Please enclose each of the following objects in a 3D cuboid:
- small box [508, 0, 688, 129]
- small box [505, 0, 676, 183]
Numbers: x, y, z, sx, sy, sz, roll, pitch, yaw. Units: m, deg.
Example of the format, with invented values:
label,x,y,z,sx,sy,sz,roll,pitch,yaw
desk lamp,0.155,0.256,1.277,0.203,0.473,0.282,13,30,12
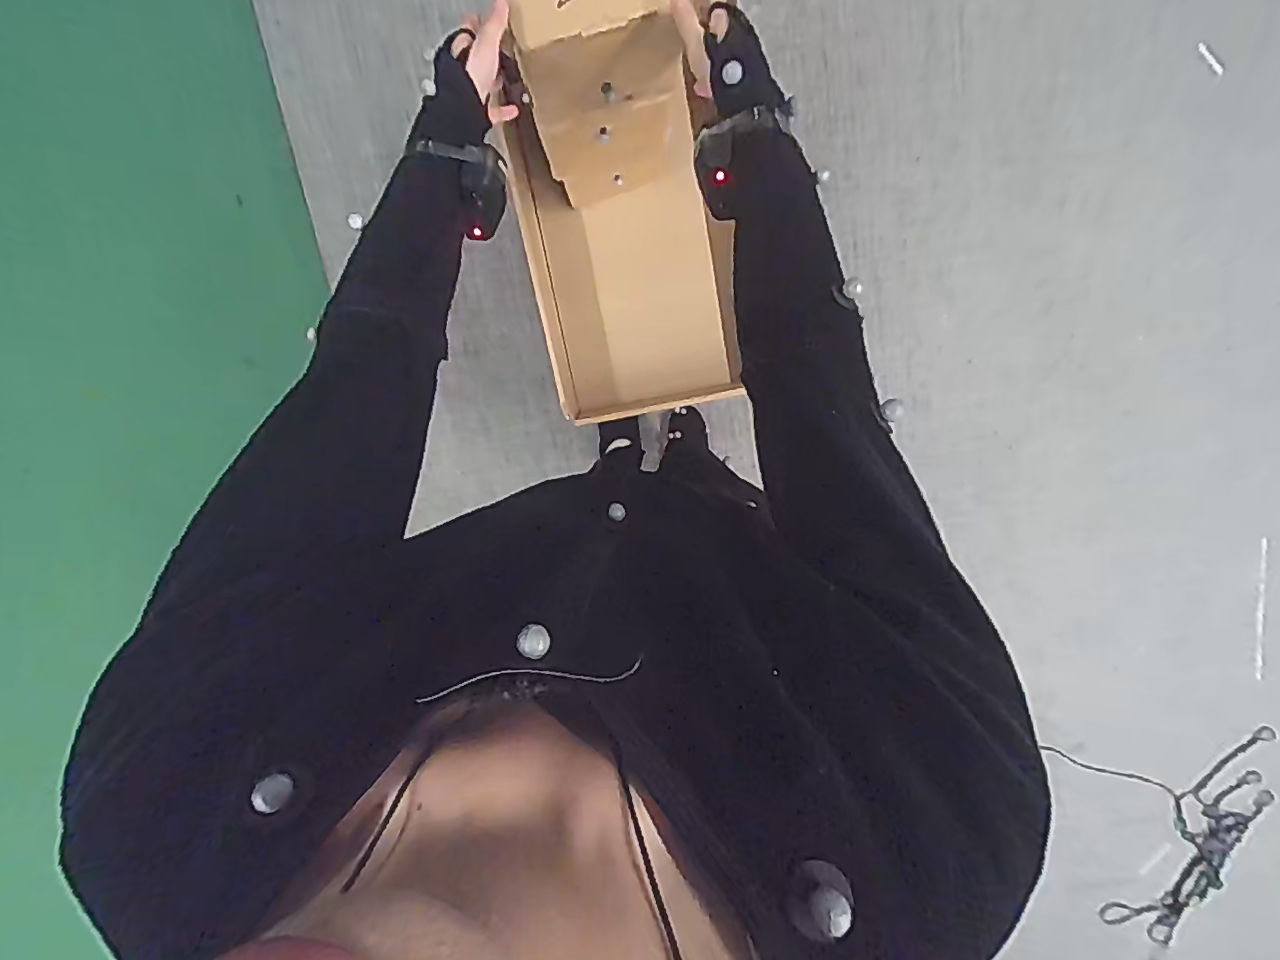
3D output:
label,x,y,z,sx,sy,sz,roll,pitch,yaw
small box,-0.053,-0.514,0.570,0.168,0.176,0.179,-13,102,2
small box,-0.061,-0.535,0.734,0.179,0.176,0.168,-15,101,3
